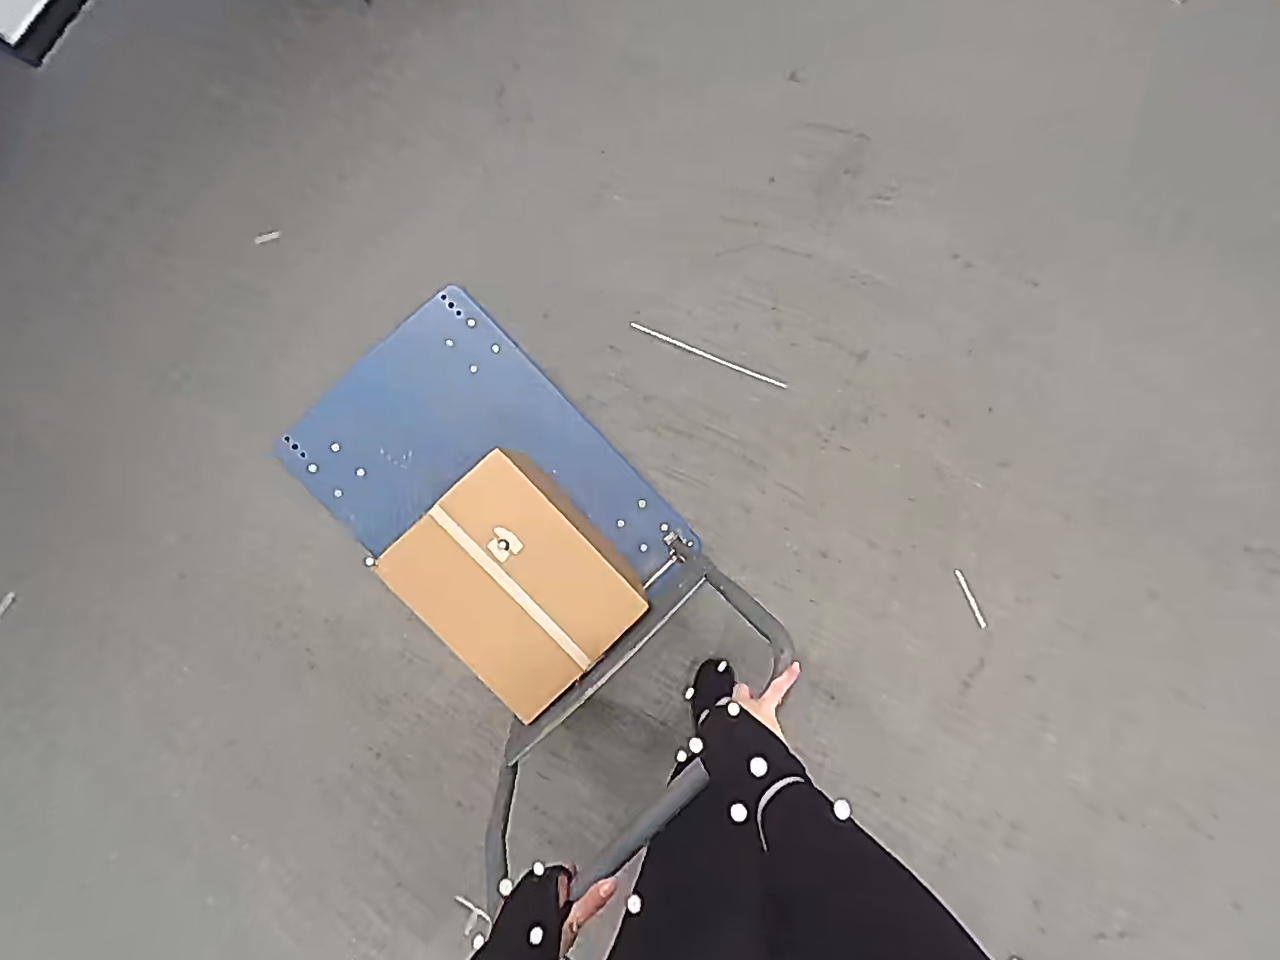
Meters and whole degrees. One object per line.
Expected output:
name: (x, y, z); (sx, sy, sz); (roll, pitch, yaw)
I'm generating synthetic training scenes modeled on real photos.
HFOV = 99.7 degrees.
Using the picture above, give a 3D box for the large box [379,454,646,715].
large box: (-0.238, 0.195, 1.144); (0.320, 0.320, 0.408); (-44, 92, -3)
